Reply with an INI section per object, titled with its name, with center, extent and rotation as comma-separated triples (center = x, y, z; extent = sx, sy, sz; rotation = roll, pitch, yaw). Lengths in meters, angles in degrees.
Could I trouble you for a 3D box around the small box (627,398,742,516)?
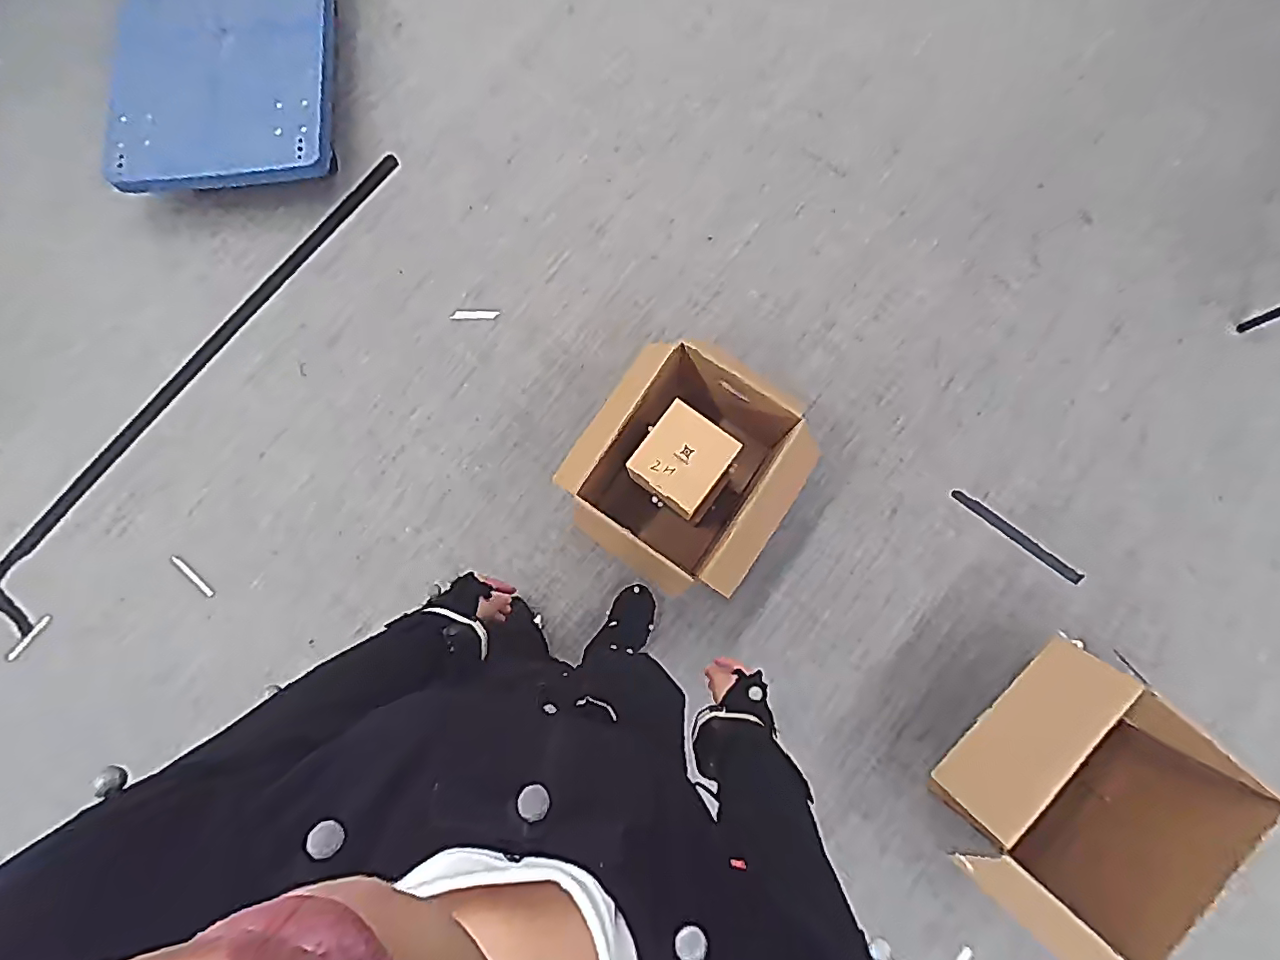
[small box]
center = 0.090, -0.041, 1.151
extent = 0.168, 0.176, 0.179
rotation = 37, 85, 8
